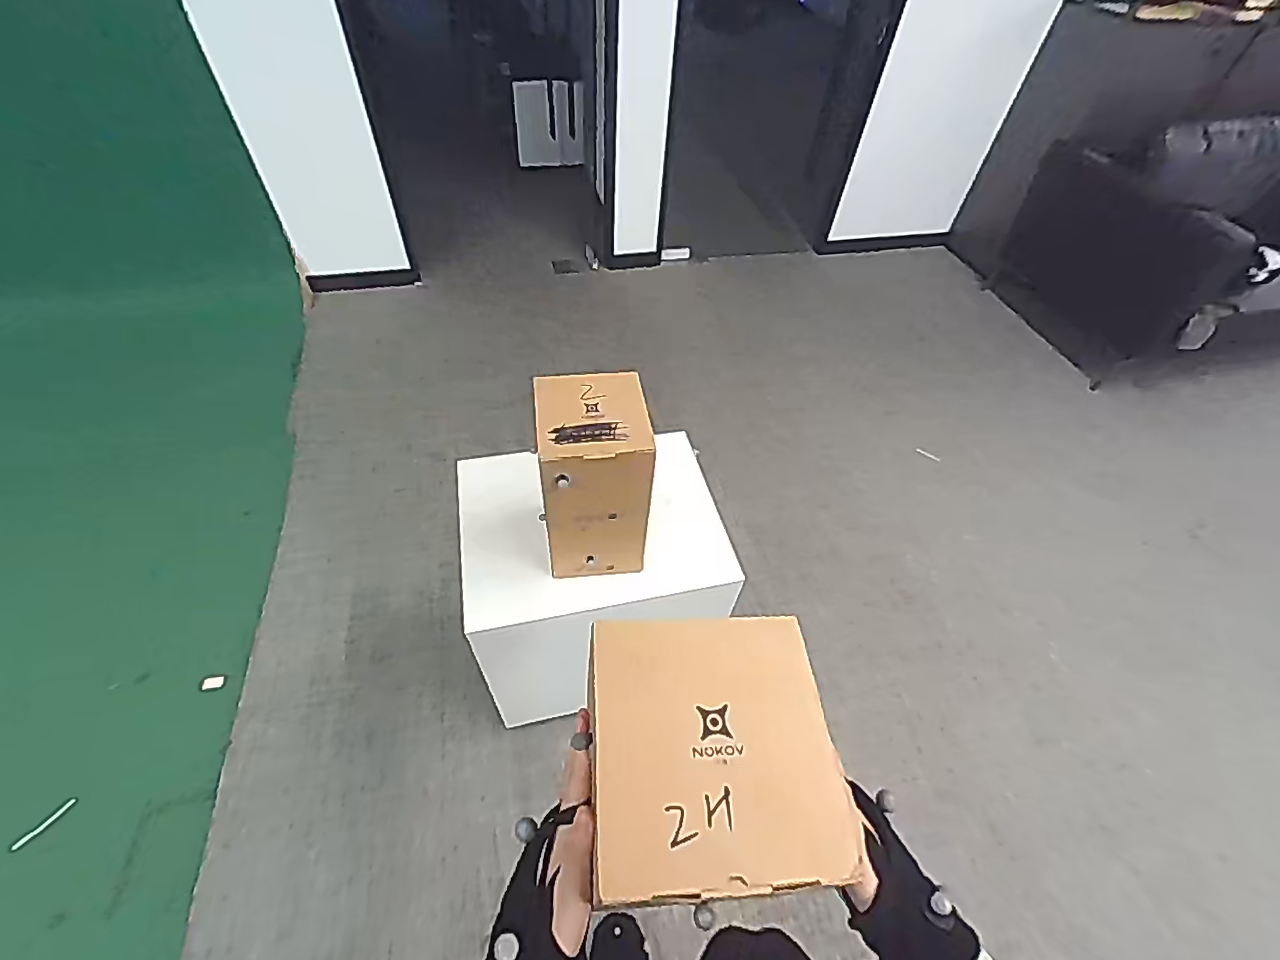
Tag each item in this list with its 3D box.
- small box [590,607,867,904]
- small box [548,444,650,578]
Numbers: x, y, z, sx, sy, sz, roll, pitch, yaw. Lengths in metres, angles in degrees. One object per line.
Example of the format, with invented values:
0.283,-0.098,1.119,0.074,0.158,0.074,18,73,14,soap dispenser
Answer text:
0.045,0.219,0.433,0.168,0.176,0.179,0,50,-7,small box
-0.079,0.057,0.981,0.168,0.176,0.179,-4,50,-7,small box
